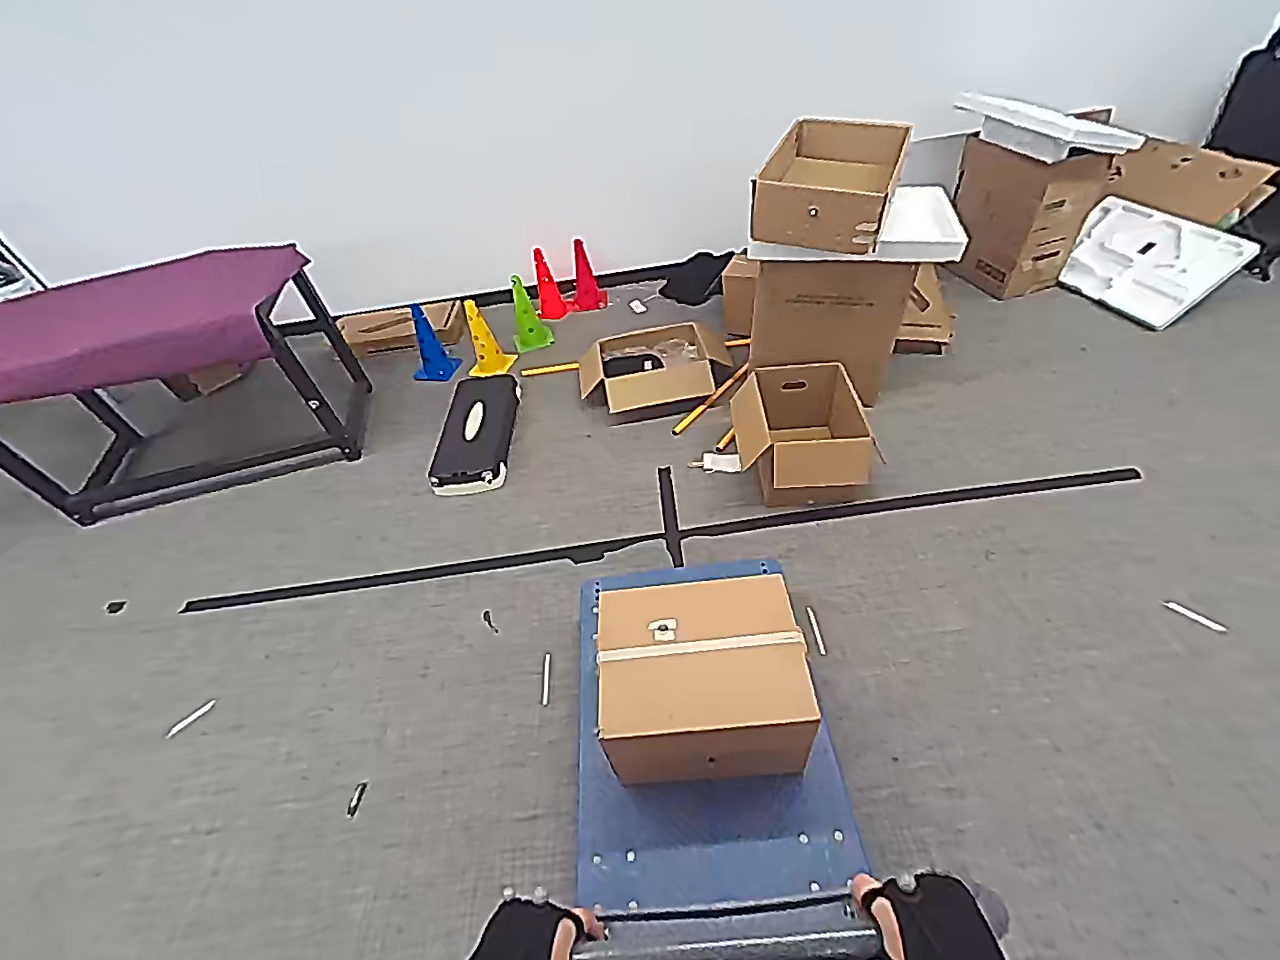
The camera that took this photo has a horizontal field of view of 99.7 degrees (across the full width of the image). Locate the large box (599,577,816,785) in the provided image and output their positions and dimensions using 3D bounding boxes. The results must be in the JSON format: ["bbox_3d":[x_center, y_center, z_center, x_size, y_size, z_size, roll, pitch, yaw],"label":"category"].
[{"bbox_3d":[0.136,0.449,1.197,0.408,0.320,0.320,-8,45,3],"label":"large box"}]
